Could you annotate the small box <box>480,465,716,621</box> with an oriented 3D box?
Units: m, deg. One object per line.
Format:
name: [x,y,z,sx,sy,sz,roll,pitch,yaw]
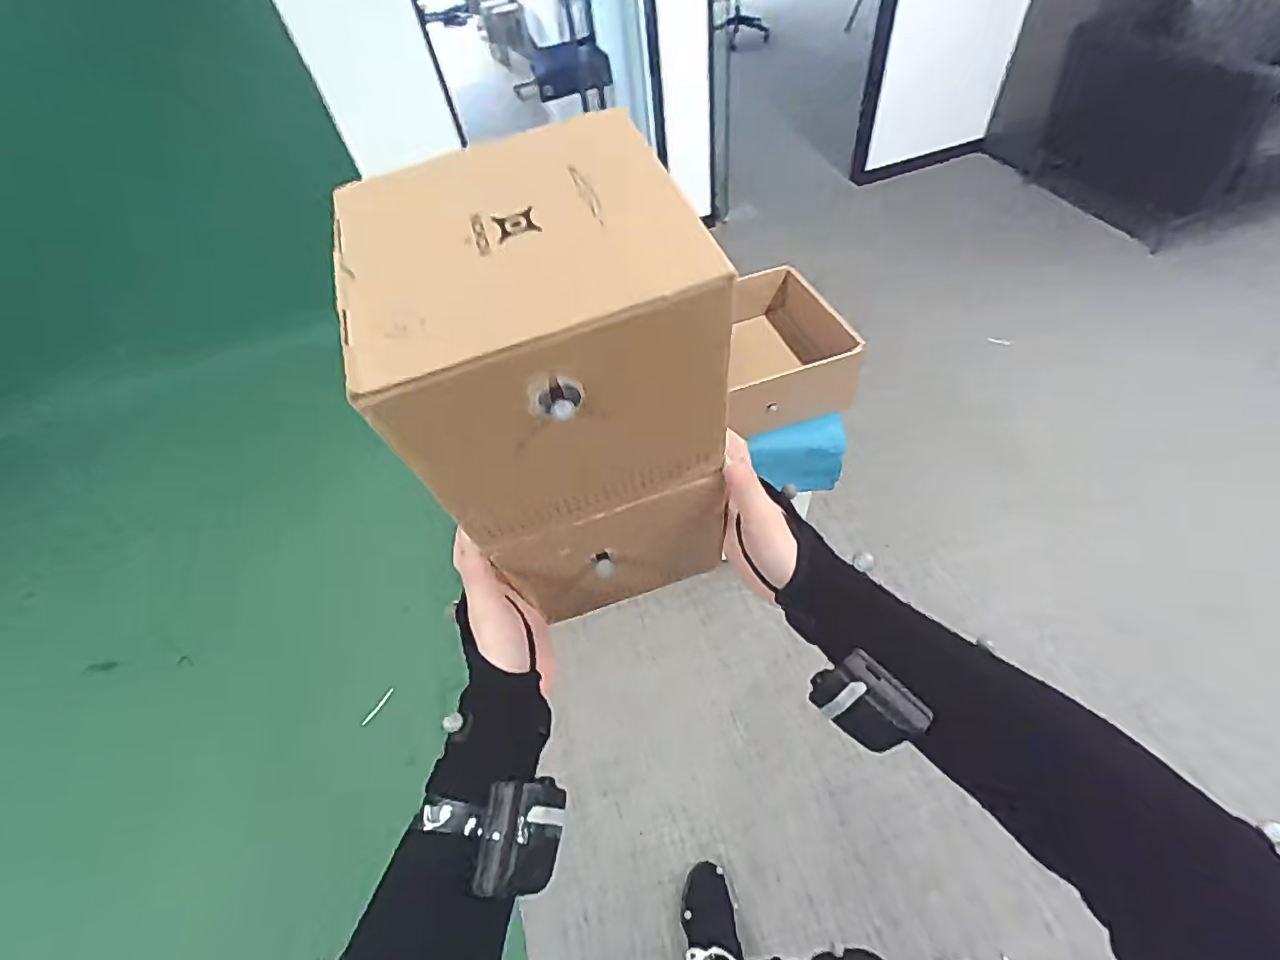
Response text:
small box: [-0.037,0.008,0.486,0.179,0.176,0.168,-17,58,-3]

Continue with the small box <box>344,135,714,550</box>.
small box: [-0.059,-0.077,0.349,0.179,0.176,0.168,-19,58,-3]
